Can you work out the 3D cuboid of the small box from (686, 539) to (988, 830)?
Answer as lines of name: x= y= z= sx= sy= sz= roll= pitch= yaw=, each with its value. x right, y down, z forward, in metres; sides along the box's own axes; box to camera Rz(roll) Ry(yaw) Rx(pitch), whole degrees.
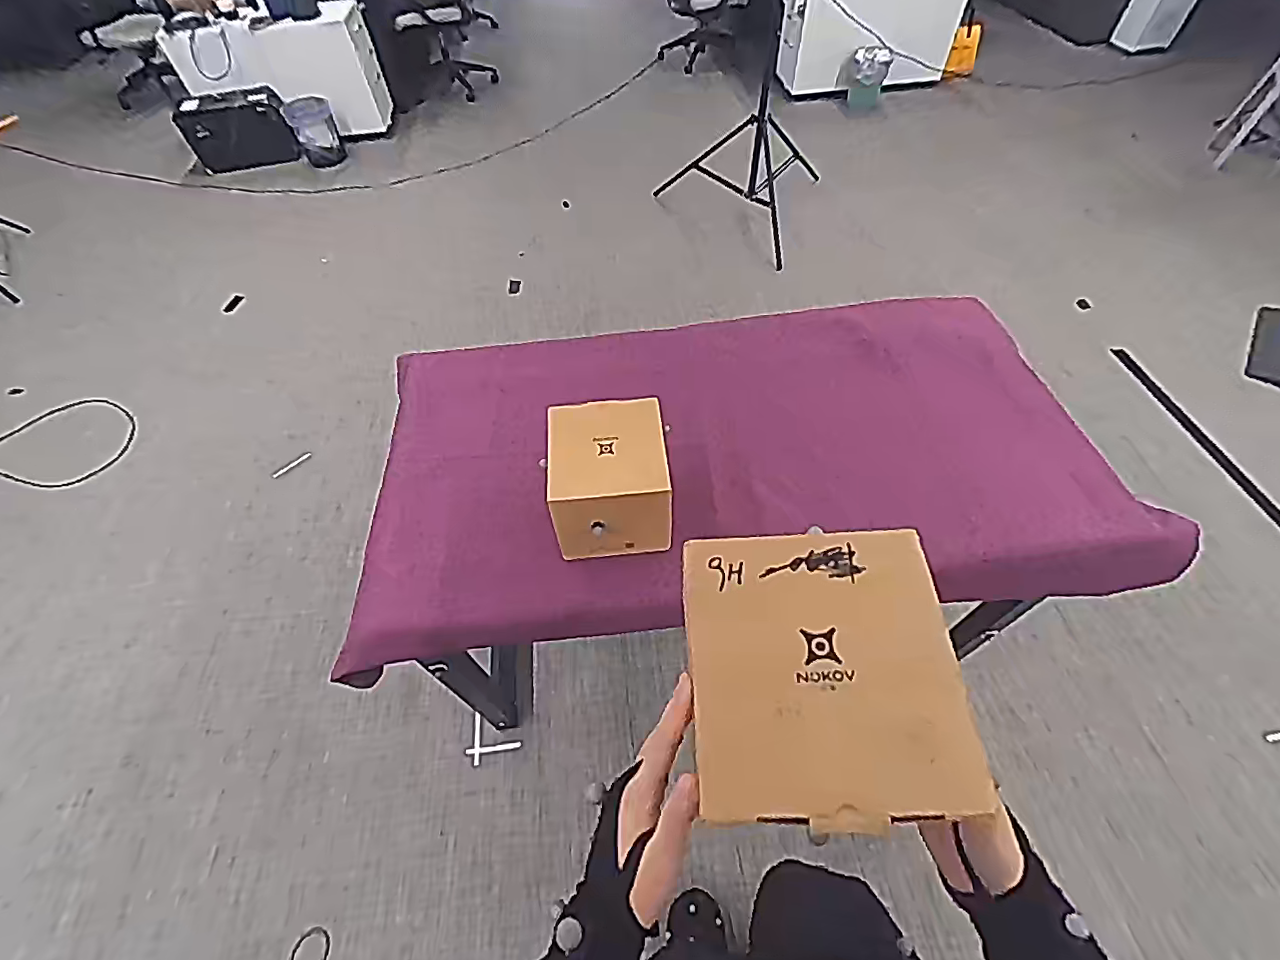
small box: x=0.122 y=0.159 z=0.418 sx=0.168 sy=0.176 sz=0.179 roll=-3 pitch=61 yaw=3

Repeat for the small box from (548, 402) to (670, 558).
small box: x=-0.043 y=0.007 z=0.826 sx=0.168 sy=0.176 sz=0.179 roll=-5 pitch=53 yaw=-2
